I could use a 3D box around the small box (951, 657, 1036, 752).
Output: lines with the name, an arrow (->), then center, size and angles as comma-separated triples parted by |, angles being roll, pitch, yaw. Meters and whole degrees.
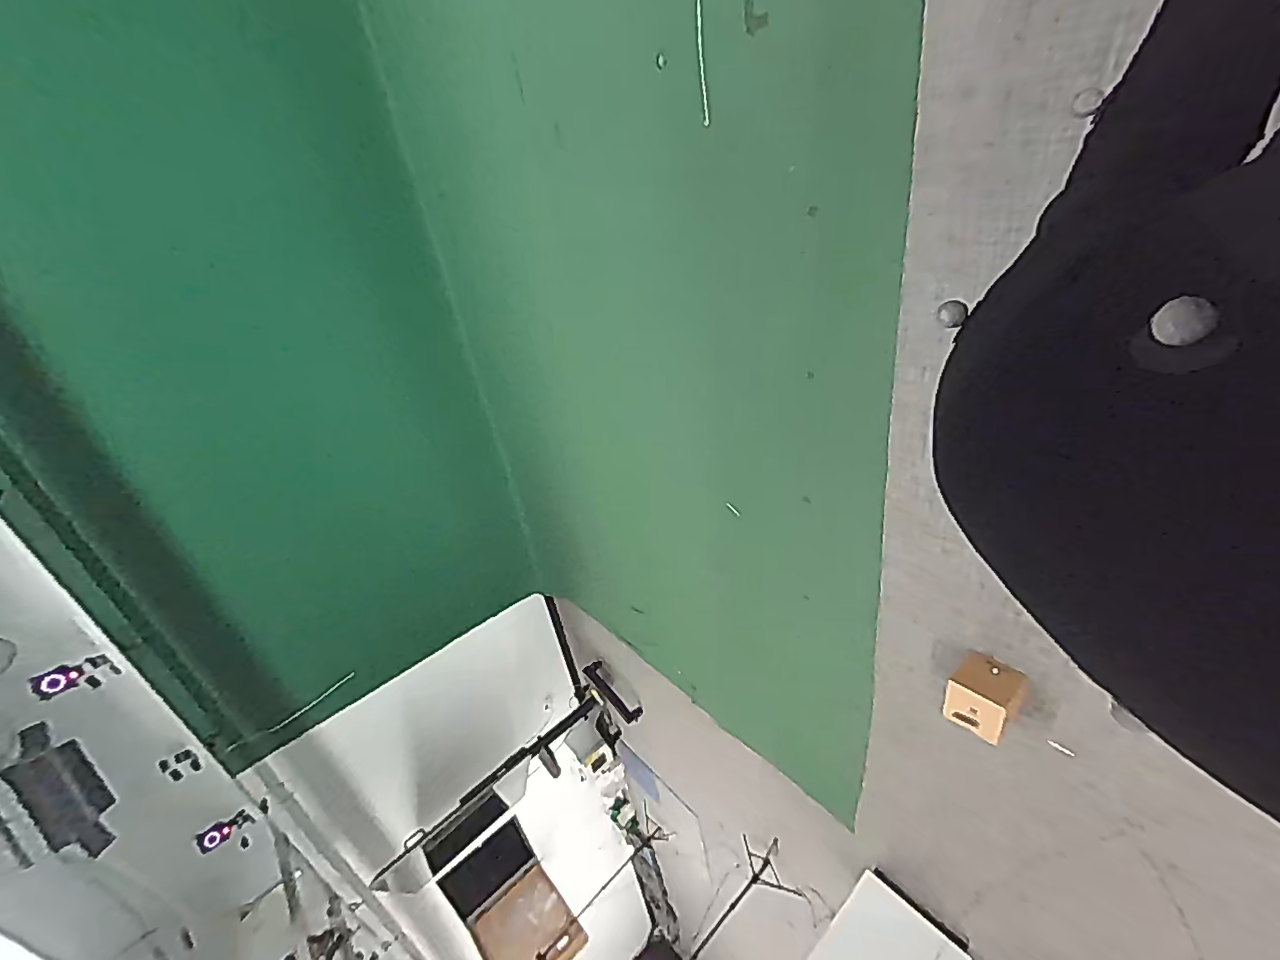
small box -> 1.114, 0.703, 1.705 | 0.168, 0.176, 0.179 | 24, 132, 46
